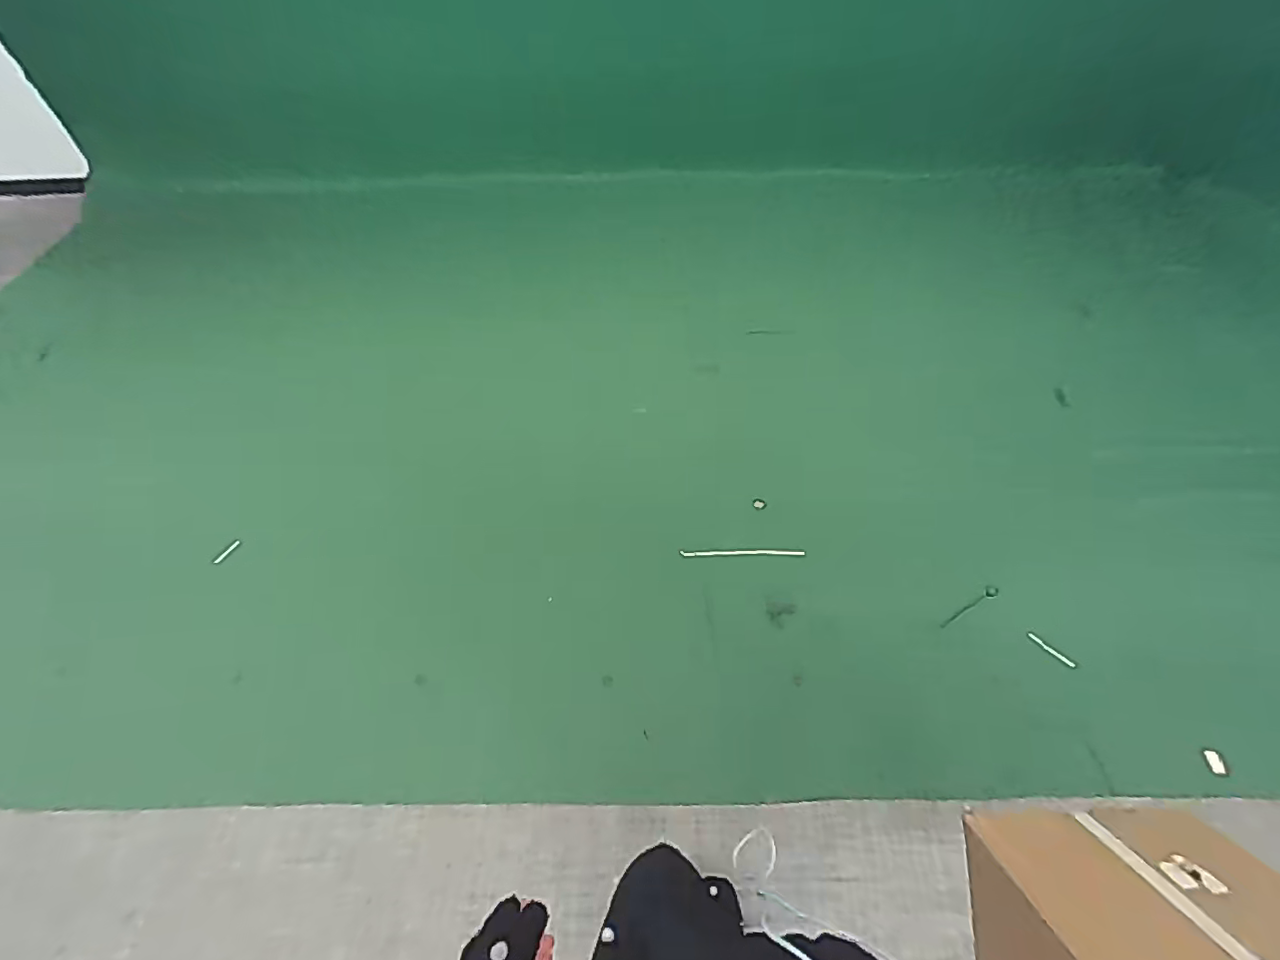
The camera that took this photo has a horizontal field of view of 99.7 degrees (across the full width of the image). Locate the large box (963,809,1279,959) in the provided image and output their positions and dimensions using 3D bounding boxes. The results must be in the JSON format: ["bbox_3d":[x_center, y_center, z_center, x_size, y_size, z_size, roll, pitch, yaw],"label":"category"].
[{"bbox_3d":[0.633,0.645,0.602,0.320,0.408,0.320,-4,90,6],"label":"large box"}]
